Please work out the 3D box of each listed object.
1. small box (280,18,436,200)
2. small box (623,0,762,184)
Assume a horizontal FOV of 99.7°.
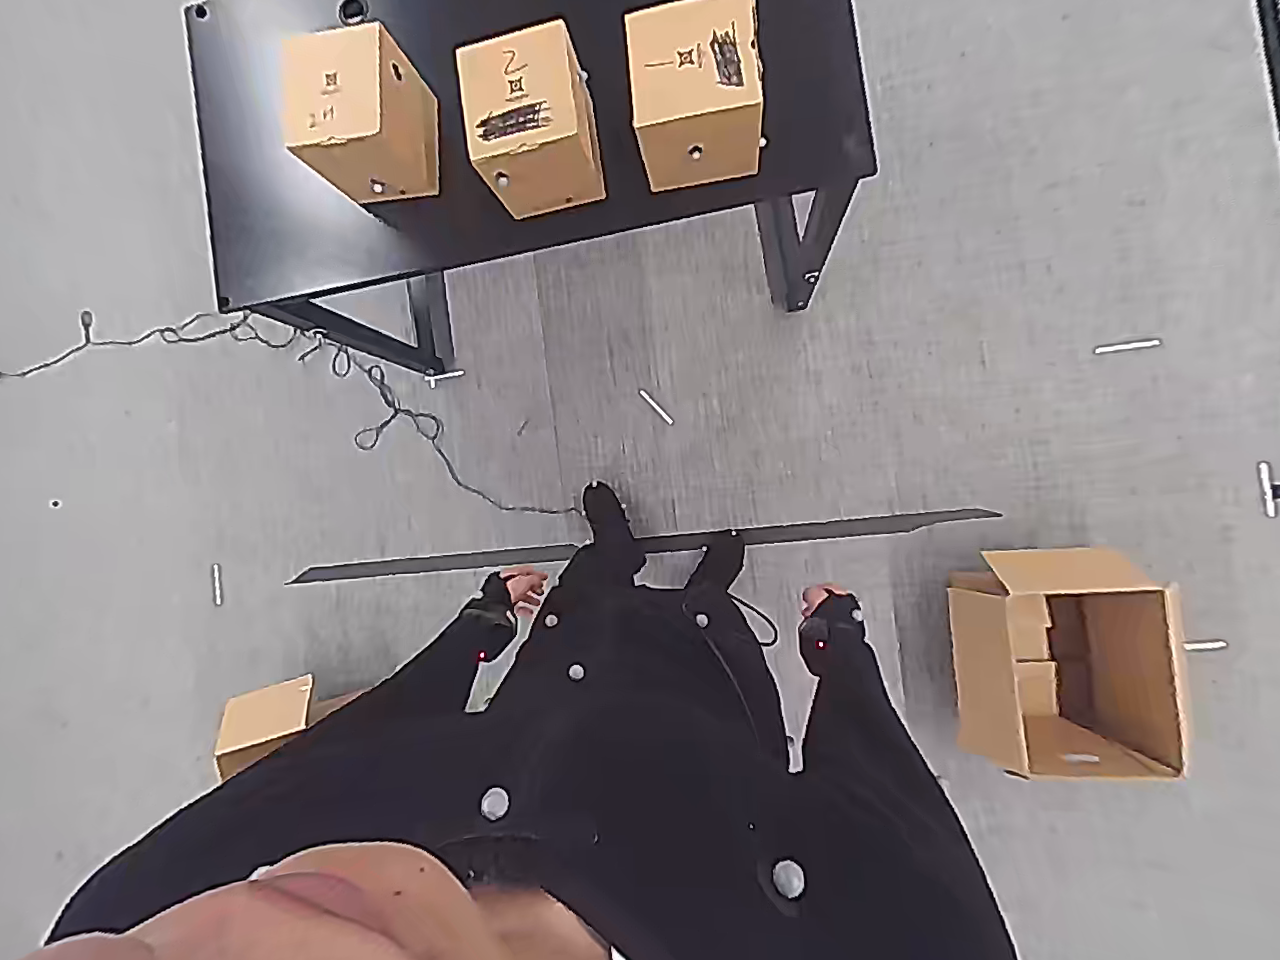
[{"bbox_3d":[-0.454,-0.597,0.891,0.168,0.176,0.179,-2,89,10],"label":"small box"},{"bbox_3d":[0.081,-0.574,0.802,0.179,0.176,0.168,-6,88,11],"label":"small box"}]
